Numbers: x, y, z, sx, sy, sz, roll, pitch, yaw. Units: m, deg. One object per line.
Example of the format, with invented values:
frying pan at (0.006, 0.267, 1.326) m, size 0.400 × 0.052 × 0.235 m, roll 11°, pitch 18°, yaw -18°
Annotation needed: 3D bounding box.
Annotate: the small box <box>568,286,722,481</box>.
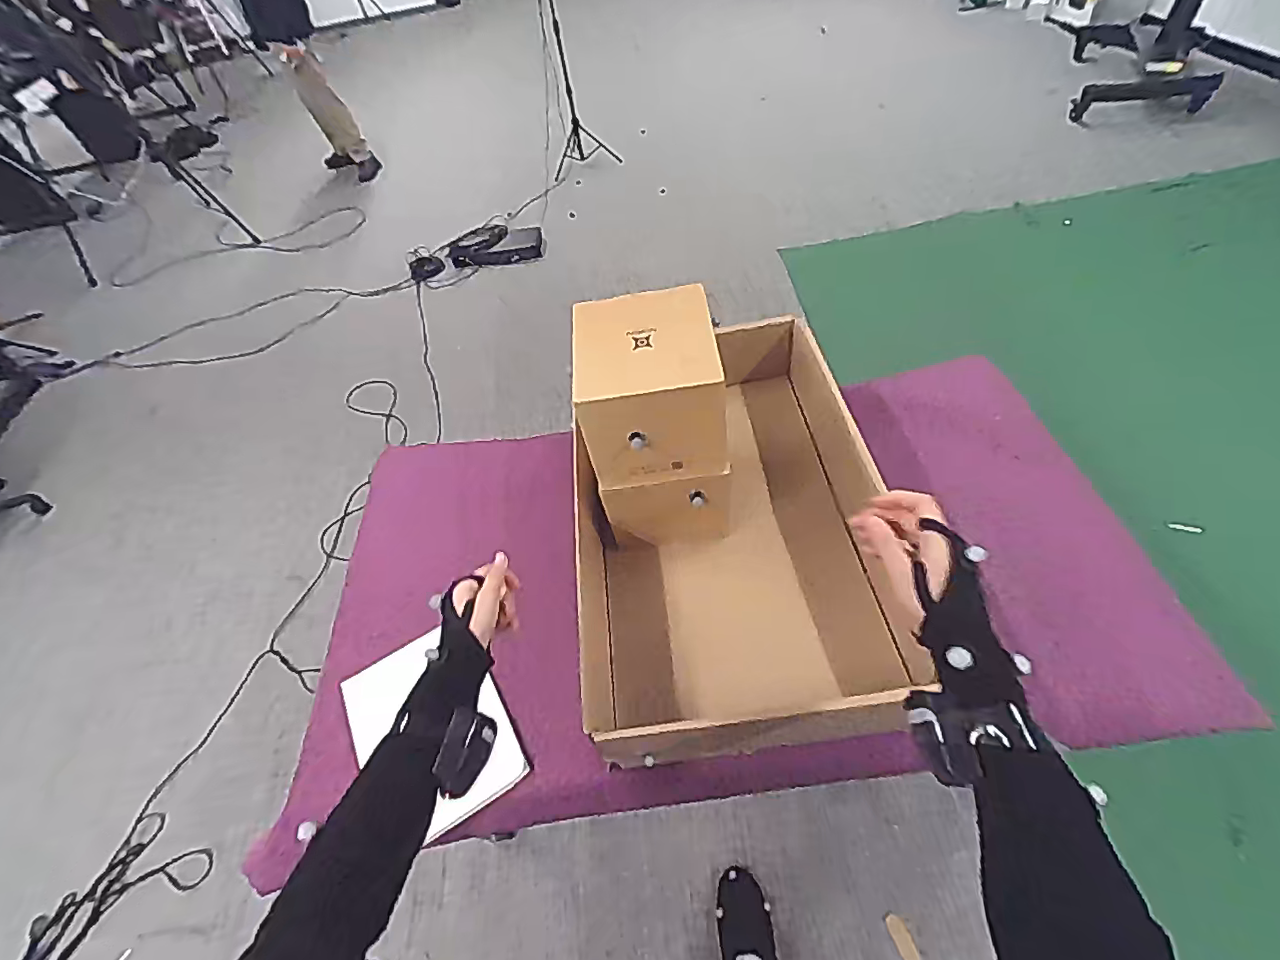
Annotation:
small box at (0.009, -0.112, 0.687) m, size 0.168 × 0.176 × 0.179 m, roll -8°, pitch 53°, yaw 4°
